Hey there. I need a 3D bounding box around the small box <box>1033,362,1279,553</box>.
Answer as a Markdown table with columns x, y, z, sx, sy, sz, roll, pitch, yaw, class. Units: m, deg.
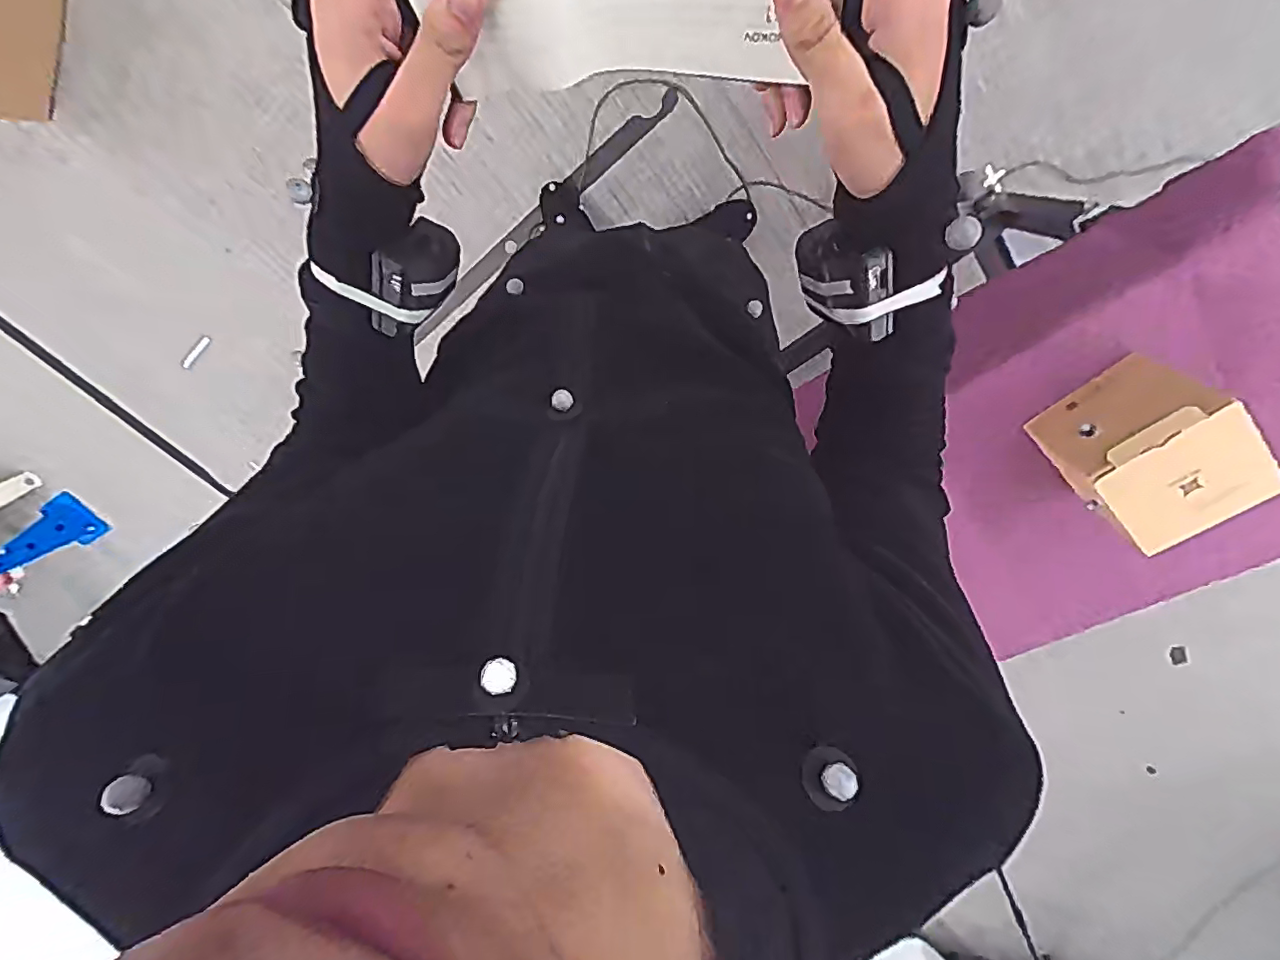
| x | y | z | sx | sy | sz | roll | pitch | yaw | class |
| --- | --- | --- | --- | --- | --- | --- | --- | --- | --- |
| 0.698 | -0.040 | 0.747 | 0.179 | 0.176 | 0.168 | 40 | 118 | -18 | small box |
